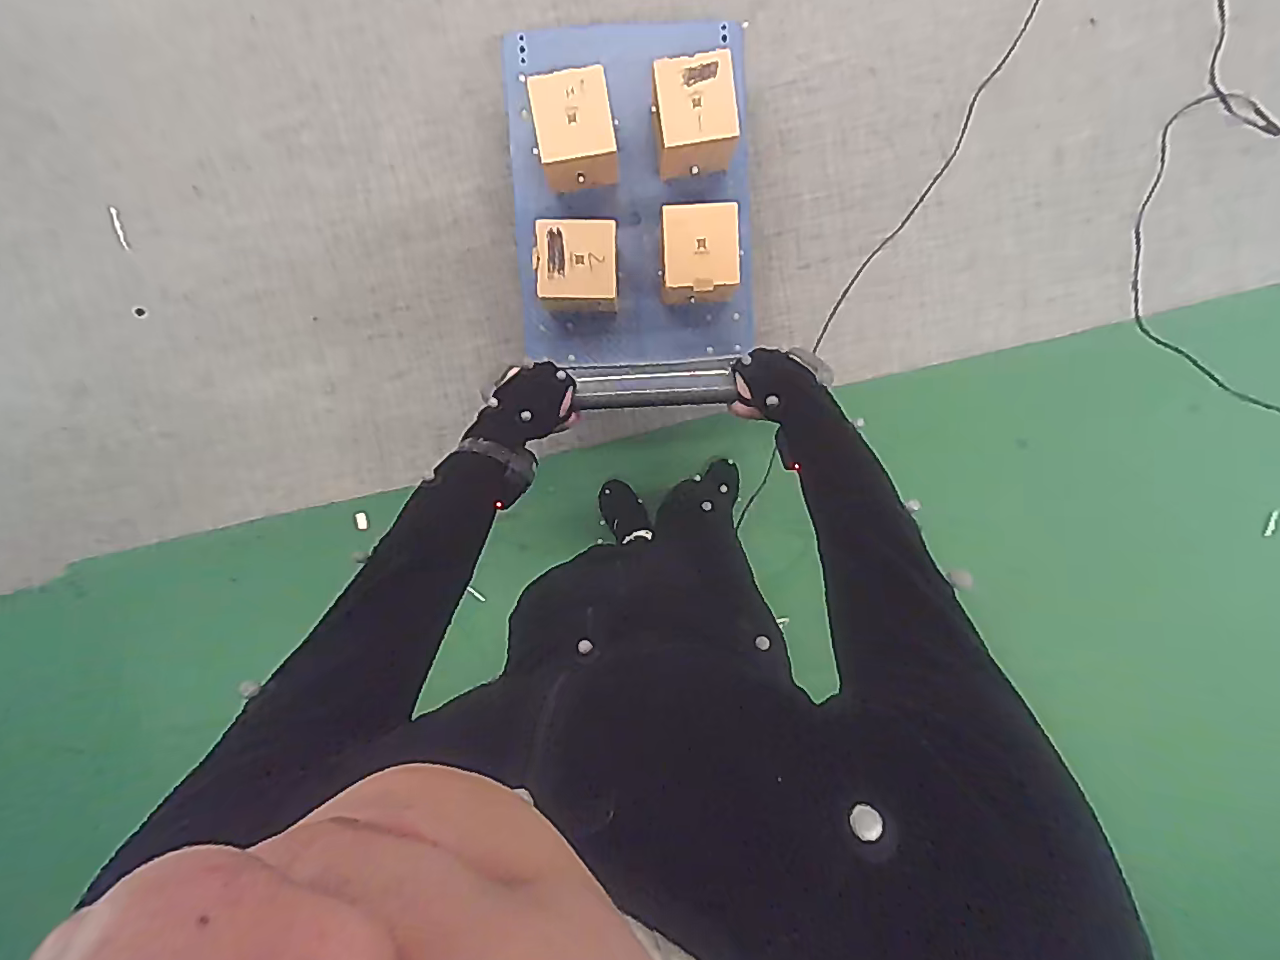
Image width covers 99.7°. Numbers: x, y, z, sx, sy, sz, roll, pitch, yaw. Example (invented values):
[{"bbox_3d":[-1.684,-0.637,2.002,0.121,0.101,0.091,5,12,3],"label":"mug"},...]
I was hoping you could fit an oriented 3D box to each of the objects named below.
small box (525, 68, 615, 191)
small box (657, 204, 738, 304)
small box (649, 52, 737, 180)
[{"bbox_3d":[-0.150,-0.775,1.221,0.168,0.176,0.179,-10,97,-1],"label":"small box"},{"bbox_3d":[0.129,-0.519,1.261,0.168,0.176,0.179,-4,98,-1],"label":"small box"},{"bbox_3d":[0.114,-0.812,1.222,0.168,0.176,0.179,-9,98,1],"label":"small box"}]
